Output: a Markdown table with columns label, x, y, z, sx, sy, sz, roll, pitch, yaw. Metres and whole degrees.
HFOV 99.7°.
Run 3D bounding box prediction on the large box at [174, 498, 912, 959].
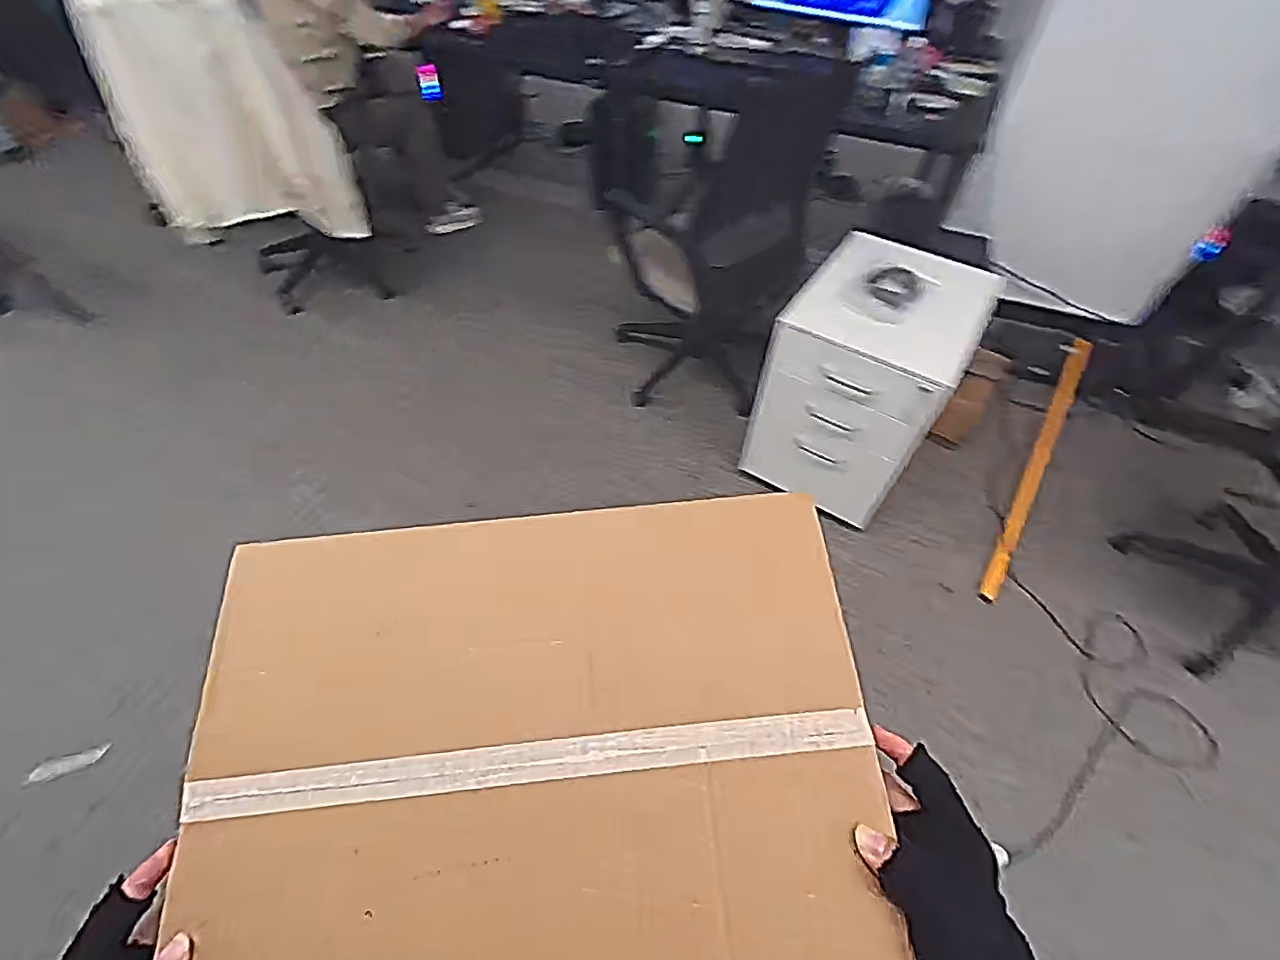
| label | x | y | z | sx | sy | sz | roll | pitch | yaw |
| --- | --- | --- | --- | --- | --- | --- | --- | --- | --- |
| large box | -0.064 | 0.235 | 0.467 | 0.408 | 0.320 | 0.320 | -6 | 67 | -2 |
